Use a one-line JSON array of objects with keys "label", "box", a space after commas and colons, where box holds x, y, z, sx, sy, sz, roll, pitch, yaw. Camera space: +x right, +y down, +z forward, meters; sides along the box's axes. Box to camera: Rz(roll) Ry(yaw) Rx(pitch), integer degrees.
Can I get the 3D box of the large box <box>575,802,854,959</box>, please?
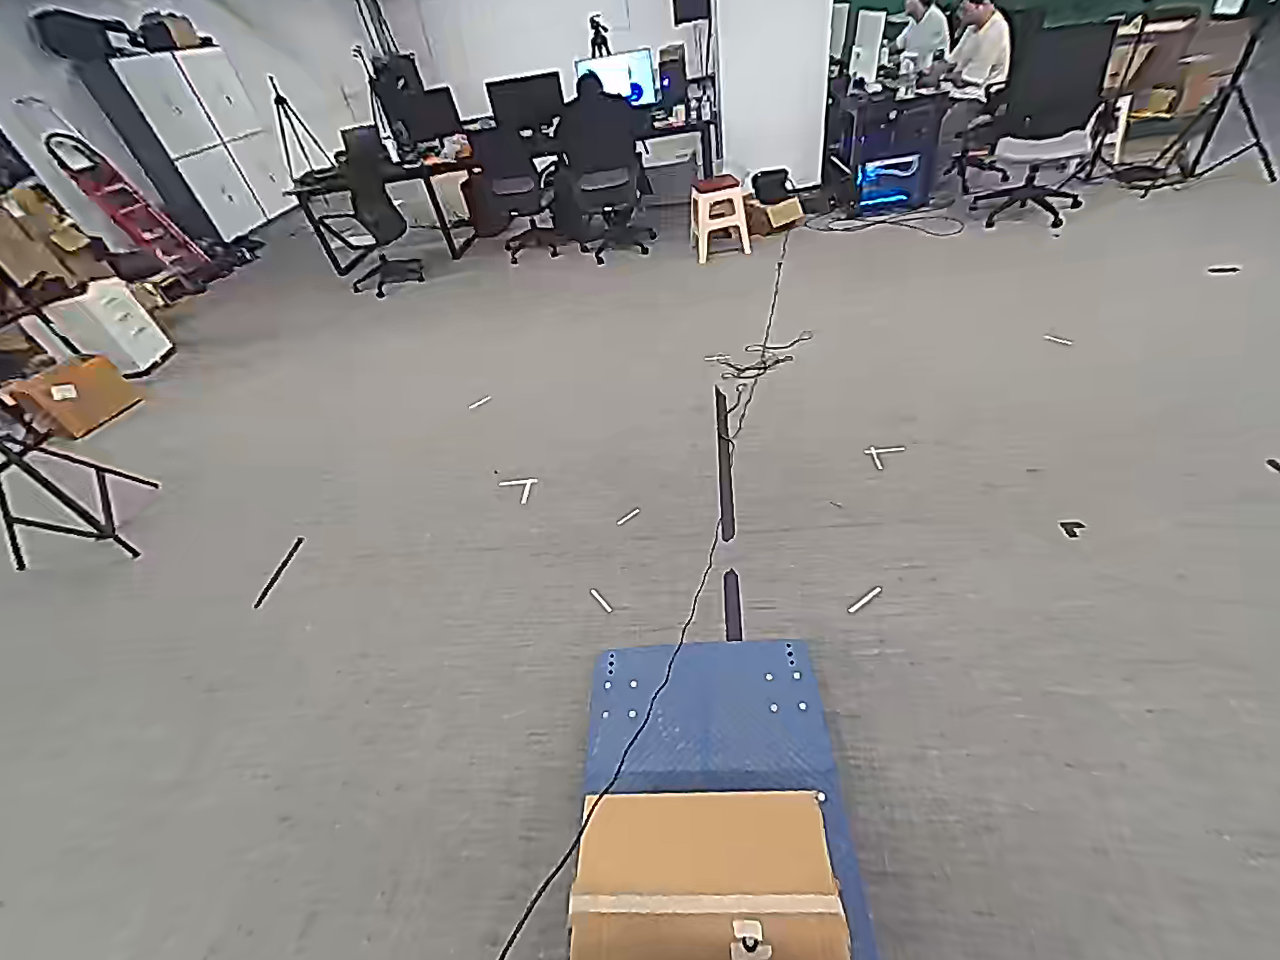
[{"label": "large box", "box": [0.121, 0.765, 0.896, 0.408, 0.320, 0.320, -5, 41, 7]}]
